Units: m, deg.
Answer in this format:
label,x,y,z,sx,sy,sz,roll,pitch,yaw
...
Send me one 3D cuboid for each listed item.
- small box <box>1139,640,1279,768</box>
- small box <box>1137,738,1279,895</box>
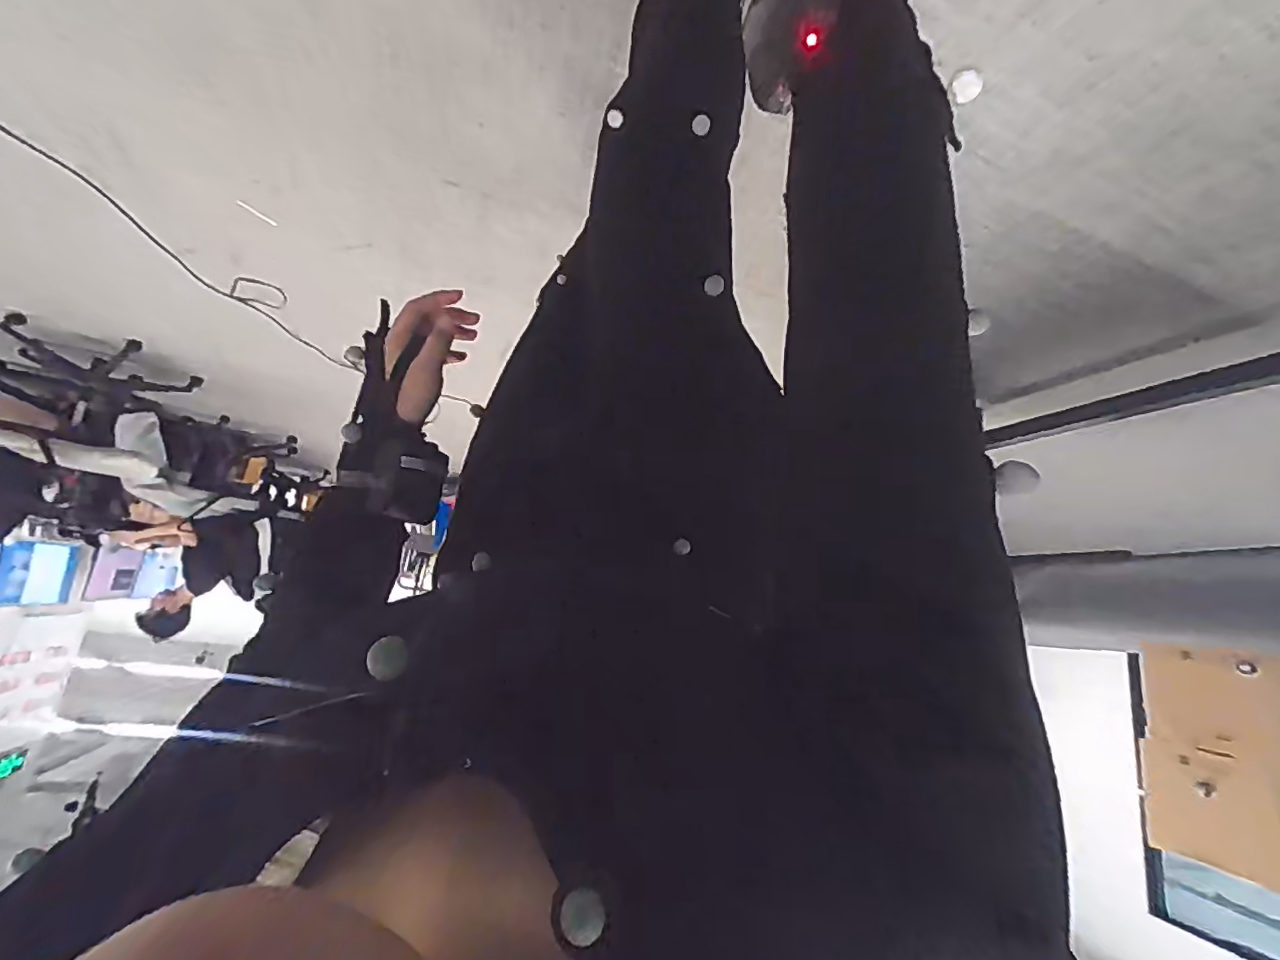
label,x,y,z,sx,sy,sz,roll,pitch,yaw
small box,0.963,0.360,0.883,0.179,0.176,0.168,12,166,-21
small box,0.944,0.522,0.861,0.179,0.176,0.168,12,165,-18
